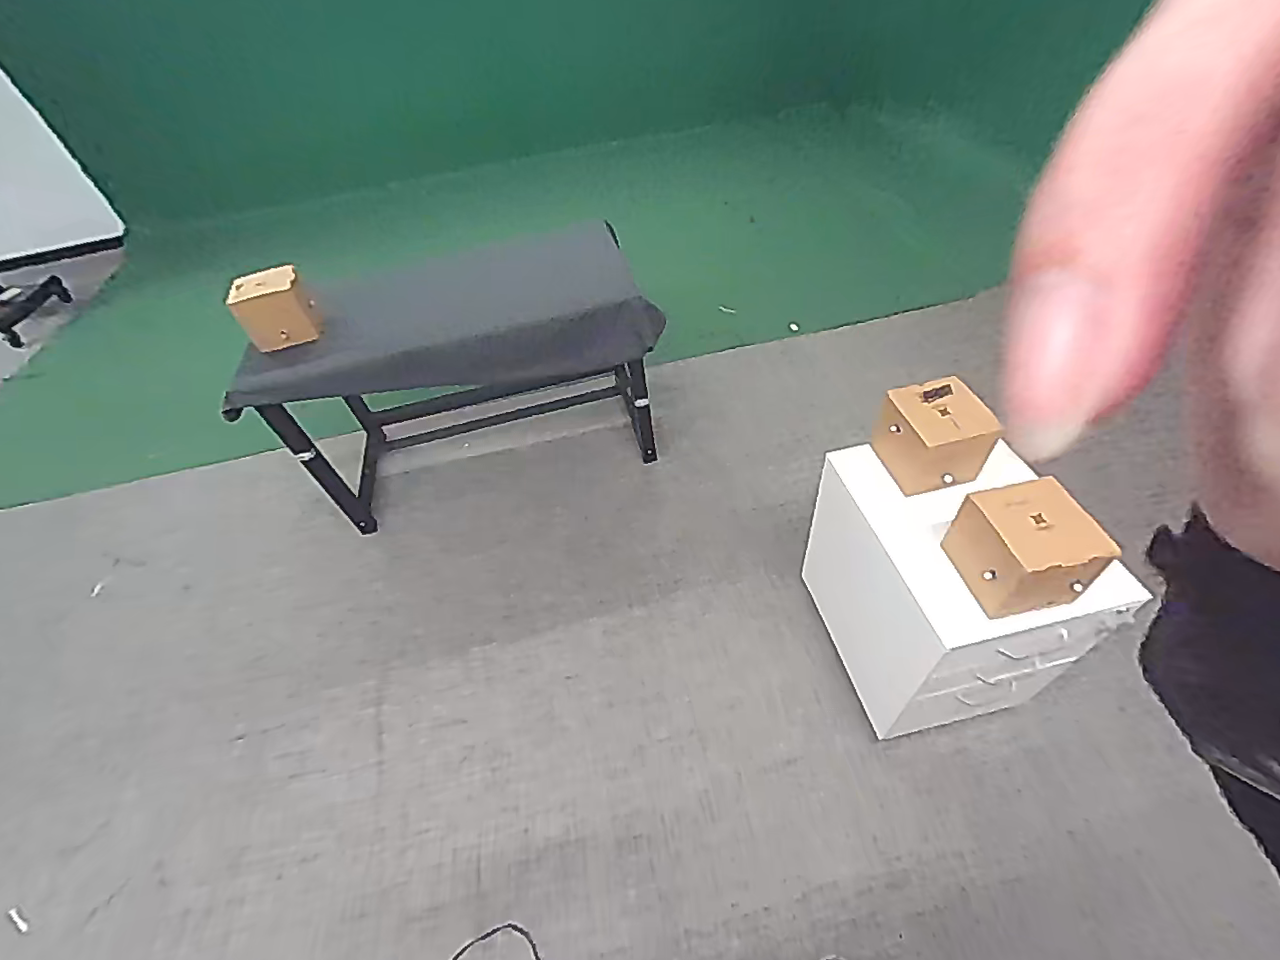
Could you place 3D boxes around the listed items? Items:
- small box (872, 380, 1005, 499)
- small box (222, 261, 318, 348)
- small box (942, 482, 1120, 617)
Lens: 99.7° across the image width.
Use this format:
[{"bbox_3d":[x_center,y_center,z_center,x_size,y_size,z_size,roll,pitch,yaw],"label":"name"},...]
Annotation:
[{"bbox_3d":[0.635,-0.087,1.180,0.168,0.176,0.179,-13,51,-3],"label":"small box"},{"bbox_3d":[-1.093,-0.522,1.616,0.179,0.176,0.168,-18,48,-10],"label":"small box"},{"bbox_3d":[0.692,0.133,0.984,0.168,0.176,0.179,-11,47,-3],"label":"small box"}]
